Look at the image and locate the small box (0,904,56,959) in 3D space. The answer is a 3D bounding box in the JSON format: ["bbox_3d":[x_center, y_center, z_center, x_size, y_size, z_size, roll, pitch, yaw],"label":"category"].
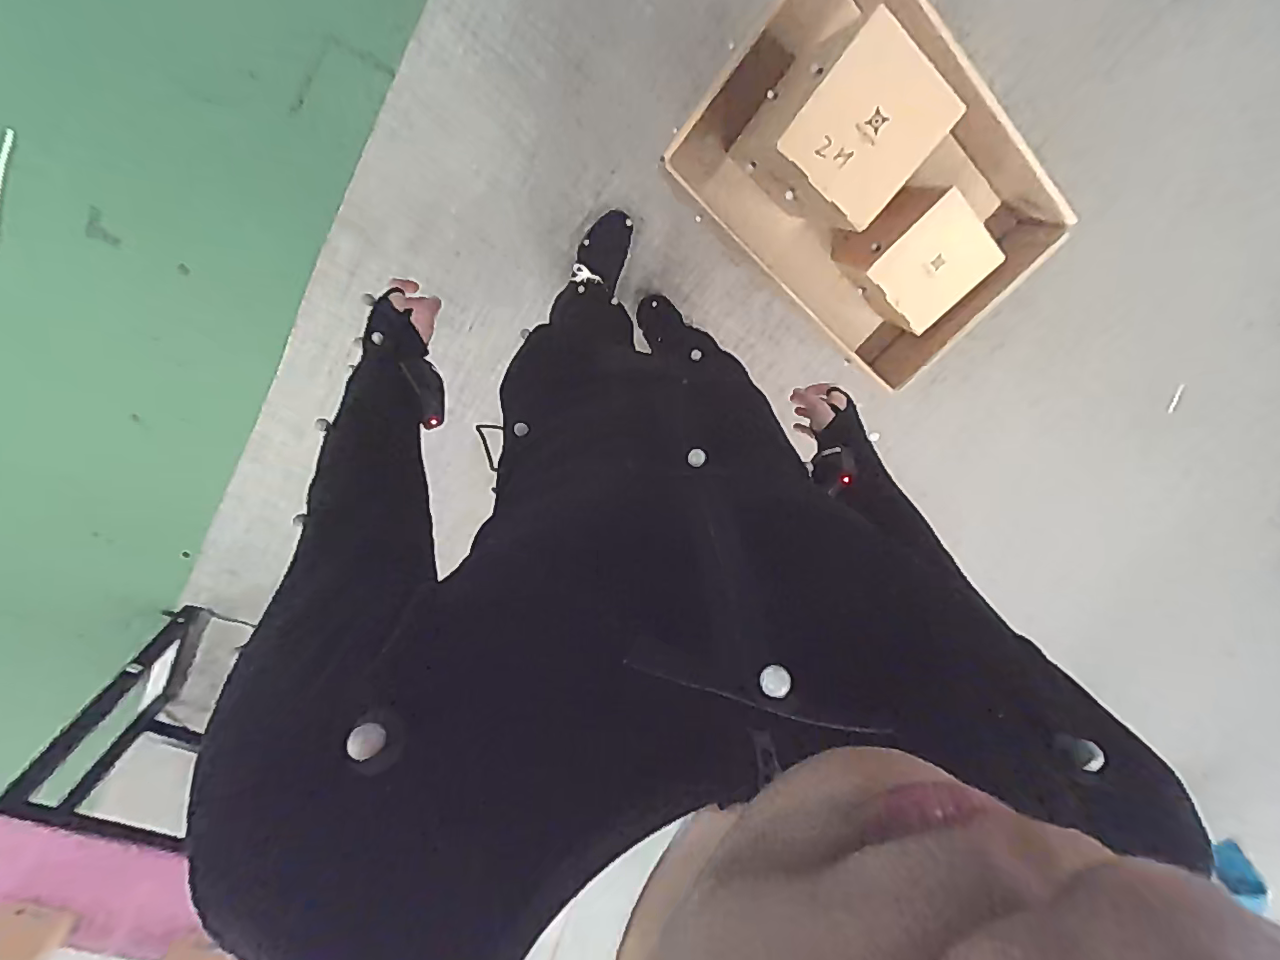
[{"bbox_3d":[-1.637,1.209,1.356,0.168,0.176,0.179,28,113,-18],"label":"small box"}]

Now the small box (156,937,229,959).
[{"bbox_3d":[-1.278,1.406,1.486,0.168,0.176,0.179,27,113,-18],"label":"small box"}]

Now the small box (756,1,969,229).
[{"bbox_3d":[0.282,-0.472,0.728,0.168,0.176,0.179,34,112,-19],"label":"small box"}]
